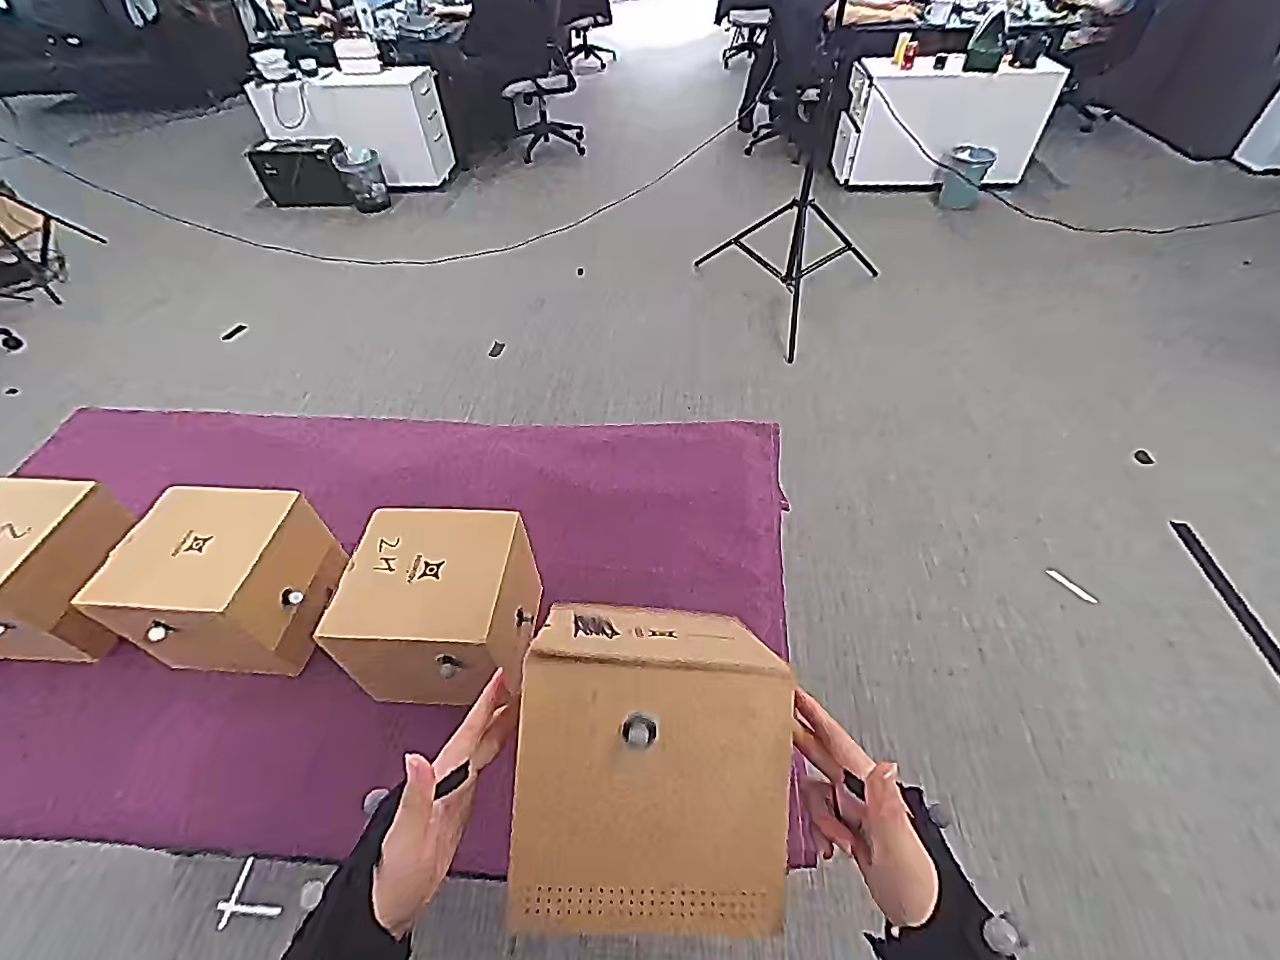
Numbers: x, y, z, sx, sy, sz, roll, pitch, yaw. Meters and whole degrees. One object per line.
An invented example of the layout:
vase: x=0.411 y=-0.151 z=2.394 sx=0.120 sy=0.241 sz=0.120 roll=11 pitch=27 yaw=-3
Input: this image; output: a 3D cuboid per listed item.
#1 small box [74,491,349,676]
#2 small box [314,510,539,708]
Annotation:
small box: x=-0.501 y=0.132 z=0.673 sx=0.179 sy=0.176 sz=0.168 roll=1 pitch=48 yaw=5
small box: x=-0.226 y=0.153 z=0.634 sx=0.179 sy=0.176 sz=0.168 roll=1 pitch=46 yaw=4
